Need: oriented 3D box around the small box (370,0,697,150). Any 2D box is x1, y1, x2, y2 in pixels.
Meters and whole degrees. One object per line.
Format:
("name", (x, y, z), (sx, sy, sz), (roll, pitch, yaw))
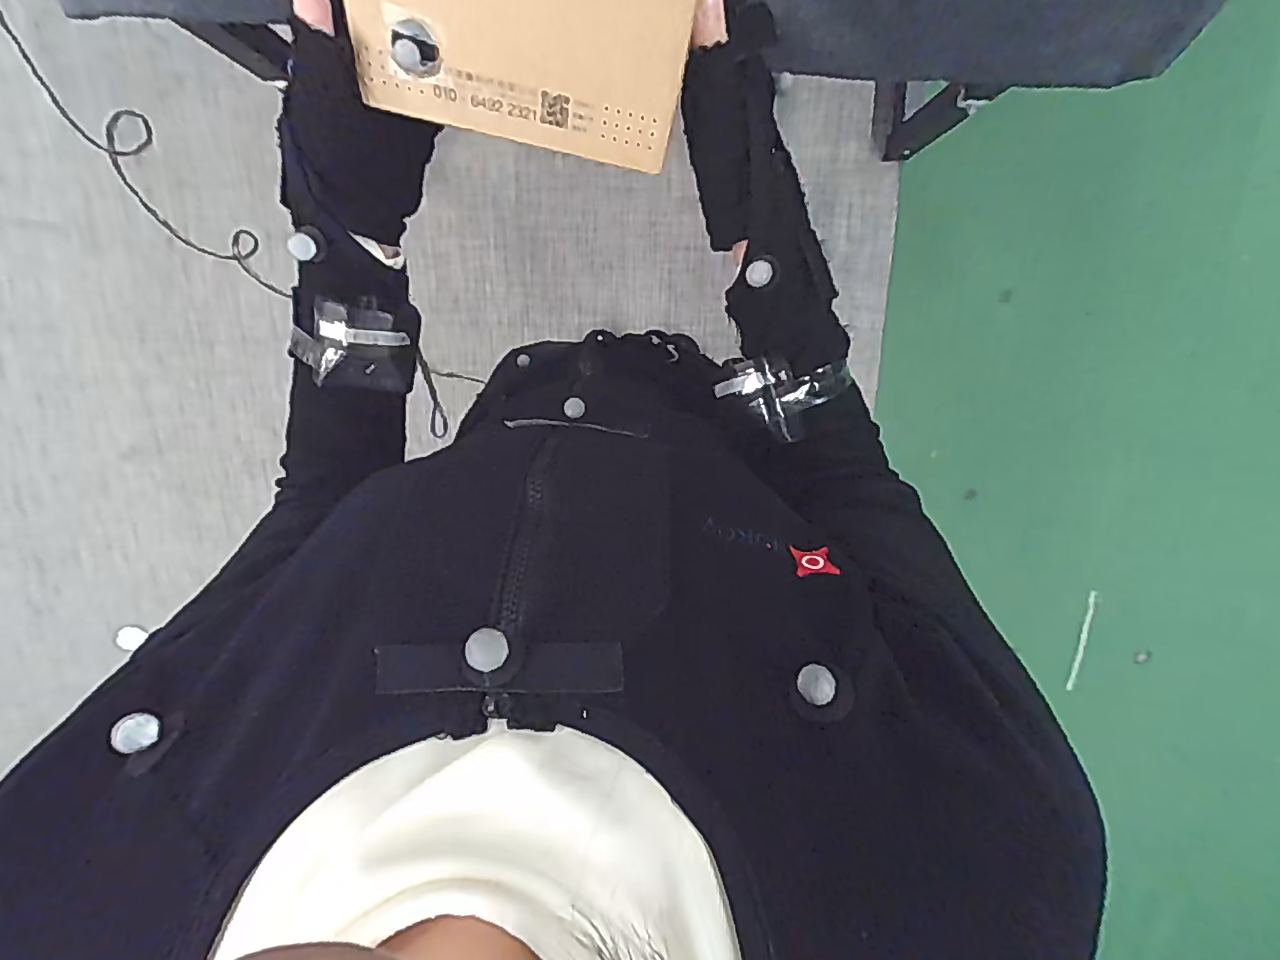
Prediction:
("small box", (-0.044, -0.311, 0.298), (0.168, 0.179, 0.176), (11, 138, -5))
